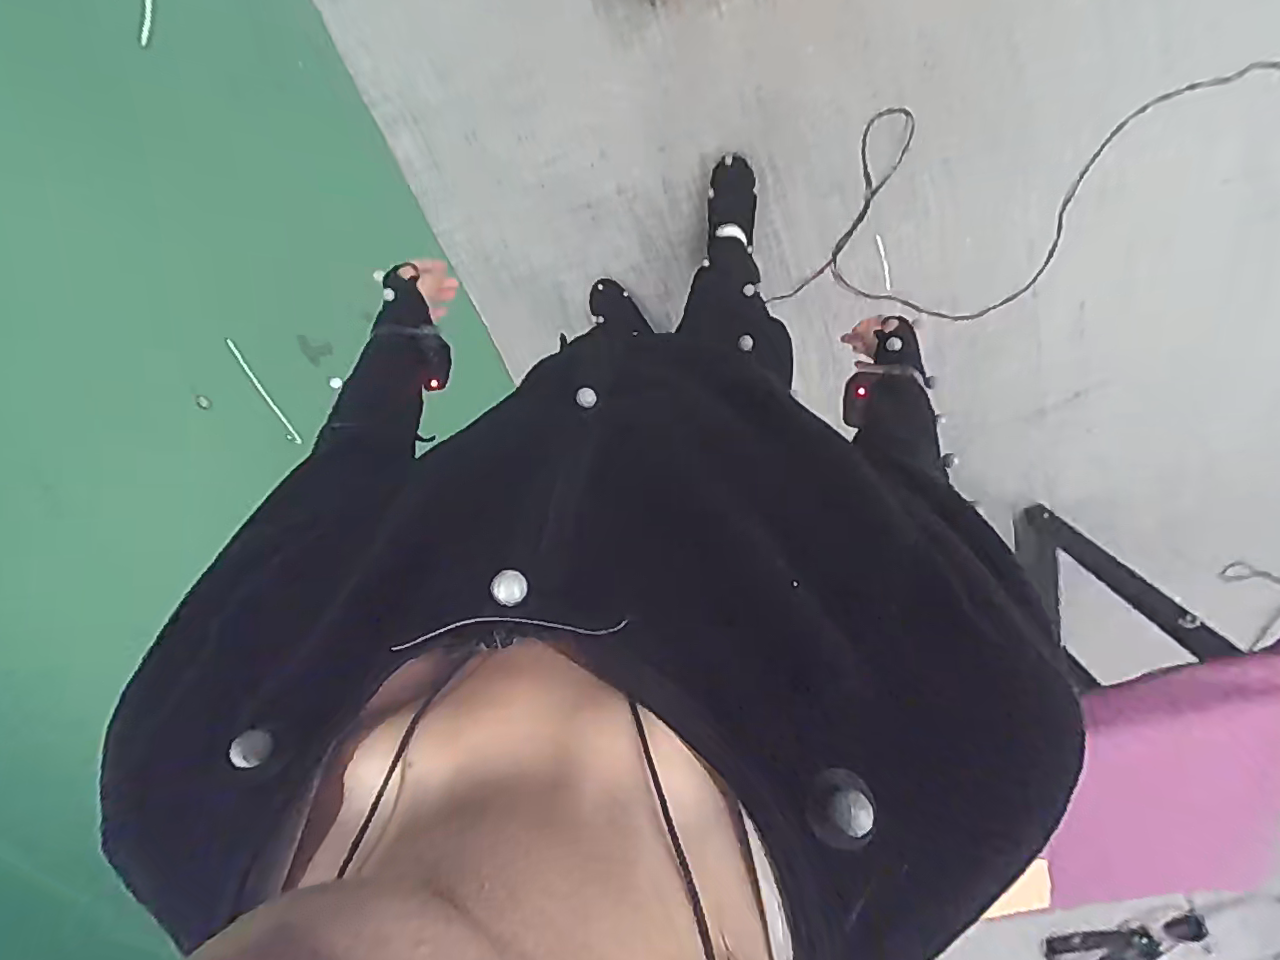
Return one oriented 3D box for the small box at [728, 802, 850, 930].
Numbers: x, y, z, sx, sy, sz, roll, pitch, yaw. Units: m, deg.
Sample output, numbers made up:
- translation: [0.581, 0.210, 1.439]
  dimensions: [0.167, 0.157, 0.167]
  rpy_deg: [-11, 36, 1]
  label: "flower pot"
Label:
- translation: [0.290, 0.780, 1.080]
  dimensions: [0.179, 0.176, 0.168]
  rpy_deg: [-21, 114, 10]
  label: "small box"
